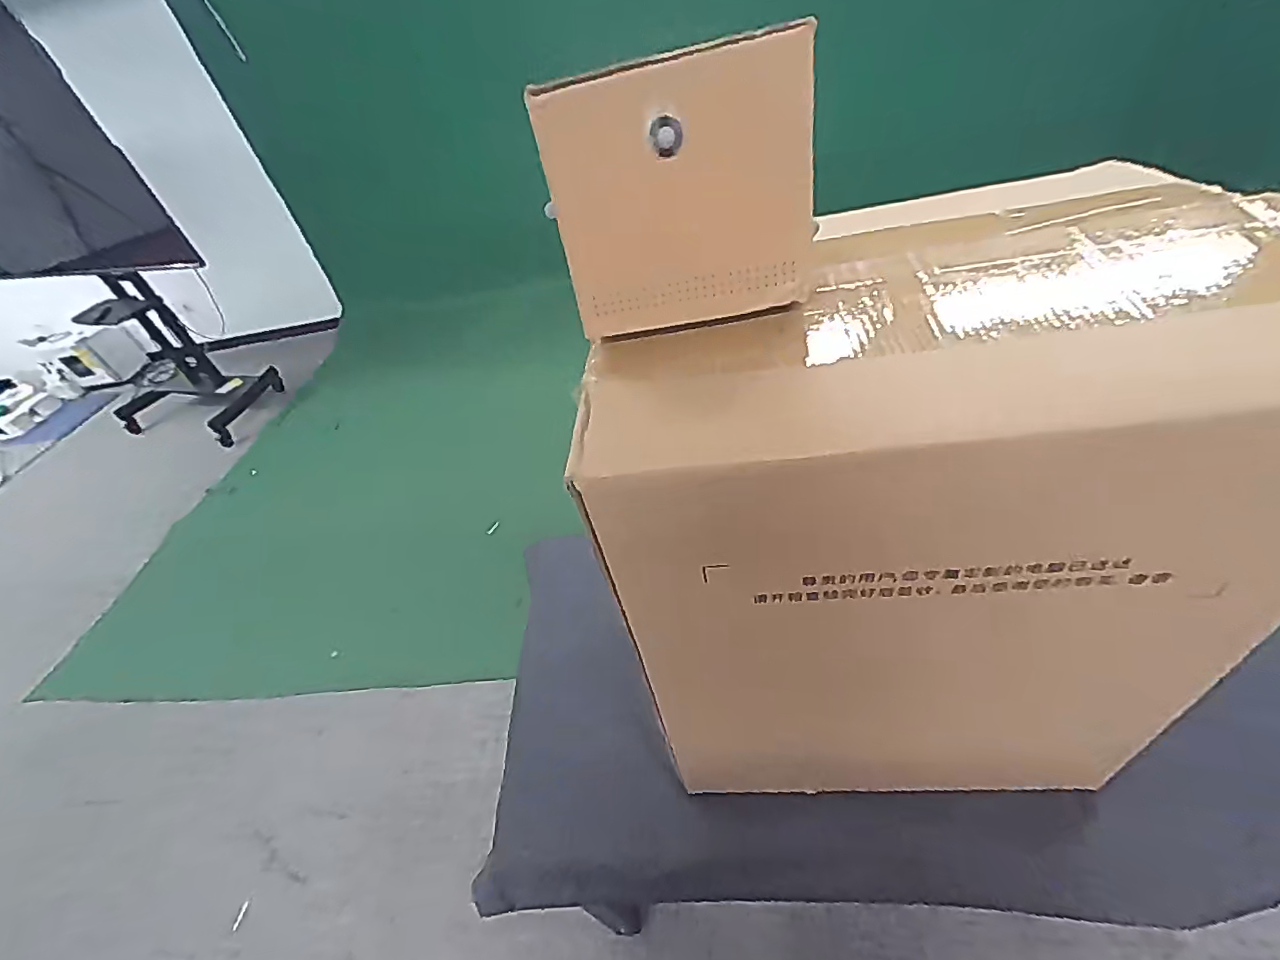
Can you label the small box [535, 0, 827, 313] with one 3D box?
[{"bbox_3d":[0.037,-0.241,0.423,0.179,0.176,0.168,-6,36,6],"label":"small box"}]
